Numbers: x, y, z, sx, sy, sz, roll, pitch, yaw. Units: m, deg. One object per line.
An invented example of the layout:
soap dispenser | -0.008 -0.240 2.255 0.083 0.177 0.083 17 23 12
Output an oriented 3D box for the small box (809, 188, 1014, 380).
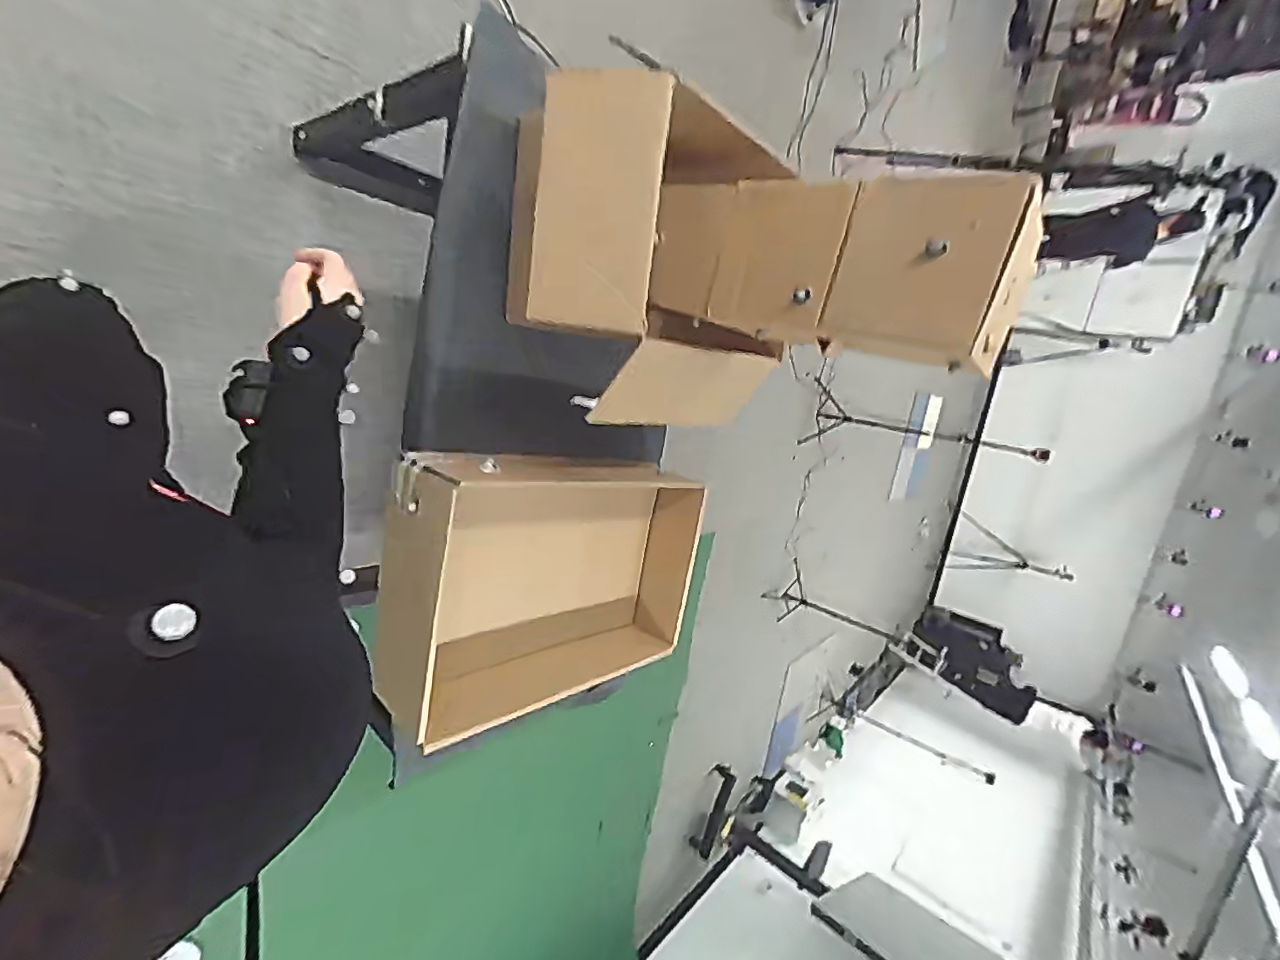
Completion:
small box | 0.329 -0.235 0.662 0.168 0.176 0.179 -1 110 -53

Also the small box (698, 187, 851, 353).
small box | 0.203 -0.288 0.753 0.168 0.176 0.179 -3 112 -52
